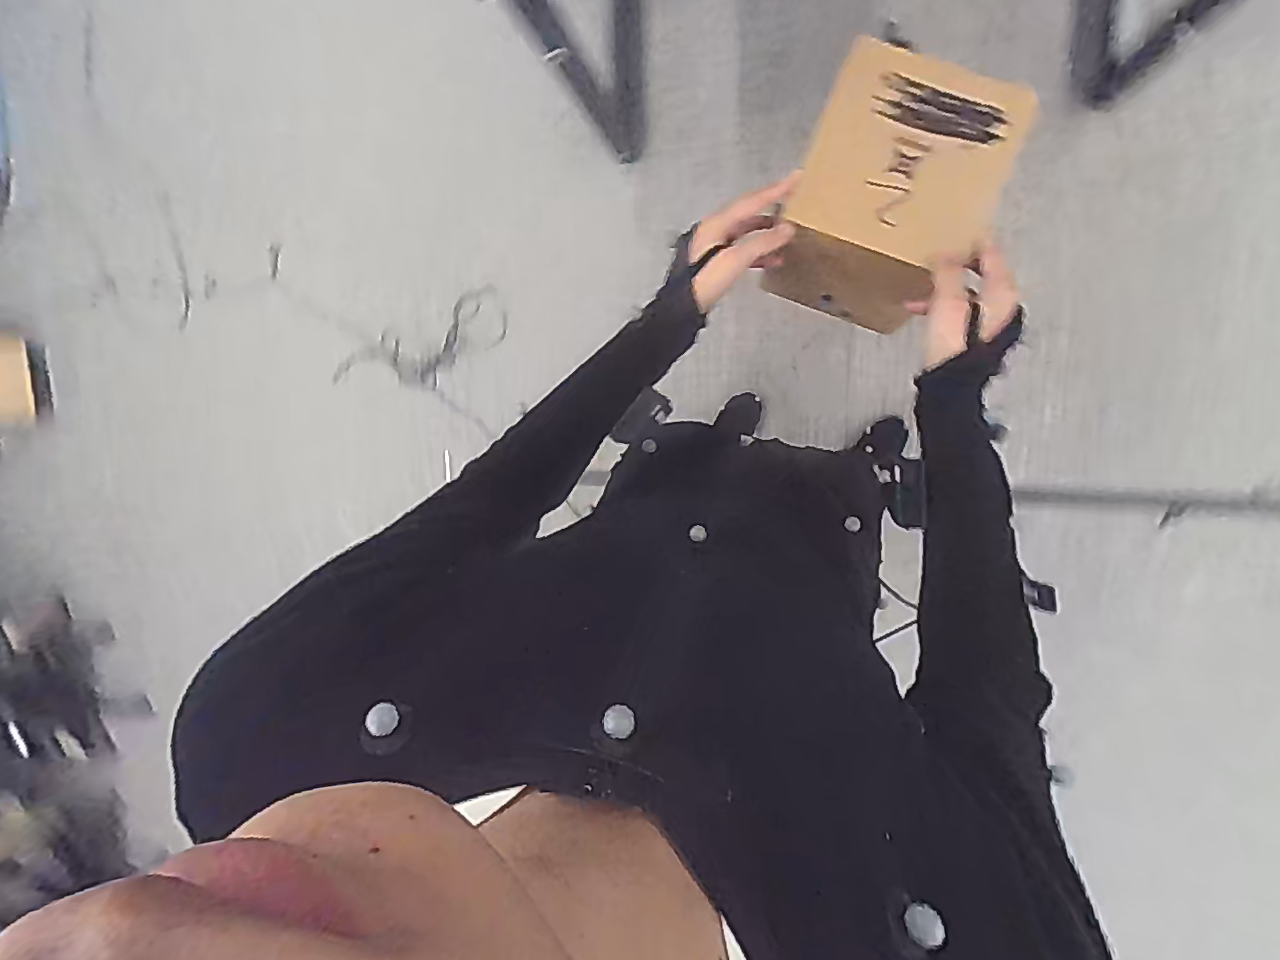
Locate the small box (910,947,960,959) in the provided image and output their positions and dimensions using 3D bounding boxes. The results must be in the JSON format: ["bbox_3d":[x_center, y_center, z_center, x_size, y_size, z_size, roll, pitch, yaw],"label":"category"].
[{"bbox_3d":[0.901,1.544,1.597,0.168,0.176,0.179,3,100,13],"label":"small box"}]
